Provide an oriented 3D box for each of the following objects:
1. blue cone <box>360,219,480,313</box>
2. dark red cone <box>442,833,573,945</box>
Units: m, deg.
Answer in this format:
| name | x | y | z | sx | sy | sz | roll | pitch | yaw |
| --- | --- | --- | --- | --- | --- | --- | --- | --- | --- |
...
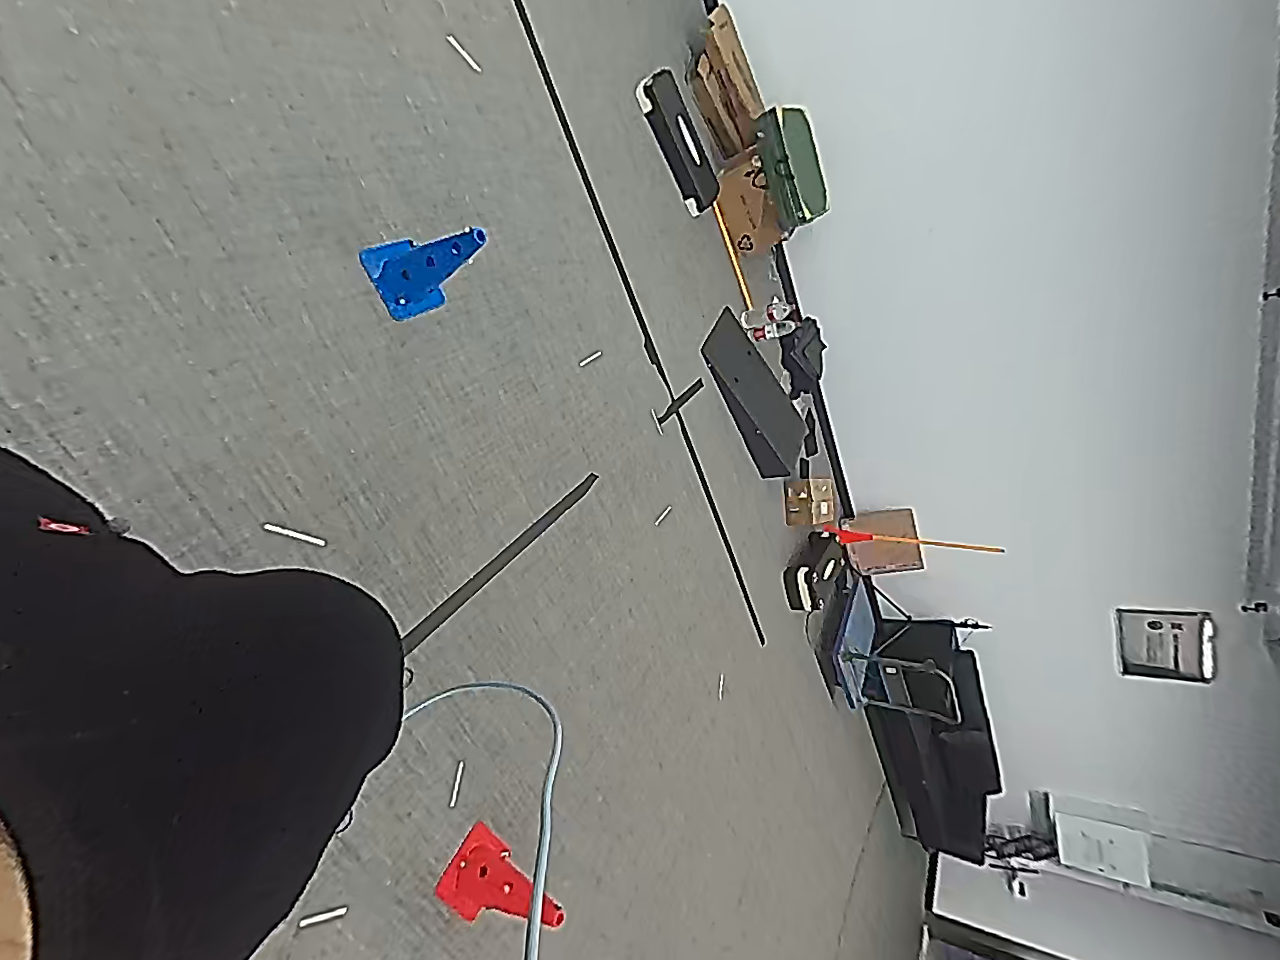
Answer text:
| name | x | y | z | sx | sy | sz | roll | pitch | yaw |
| --- | --- | --- | --- | --- | --- | --- | --- | --- | --- |
| blue cone | -0.550 | -0.599 | 1.444 | 0.193 | 0.380 | 0.192 | -45 | 120 | -46 |
| dark red cone | -0.330 | 1.147 | 1.462 | 0.202 | 0.394 | 0.201 | -55 | 126 | -42 |
